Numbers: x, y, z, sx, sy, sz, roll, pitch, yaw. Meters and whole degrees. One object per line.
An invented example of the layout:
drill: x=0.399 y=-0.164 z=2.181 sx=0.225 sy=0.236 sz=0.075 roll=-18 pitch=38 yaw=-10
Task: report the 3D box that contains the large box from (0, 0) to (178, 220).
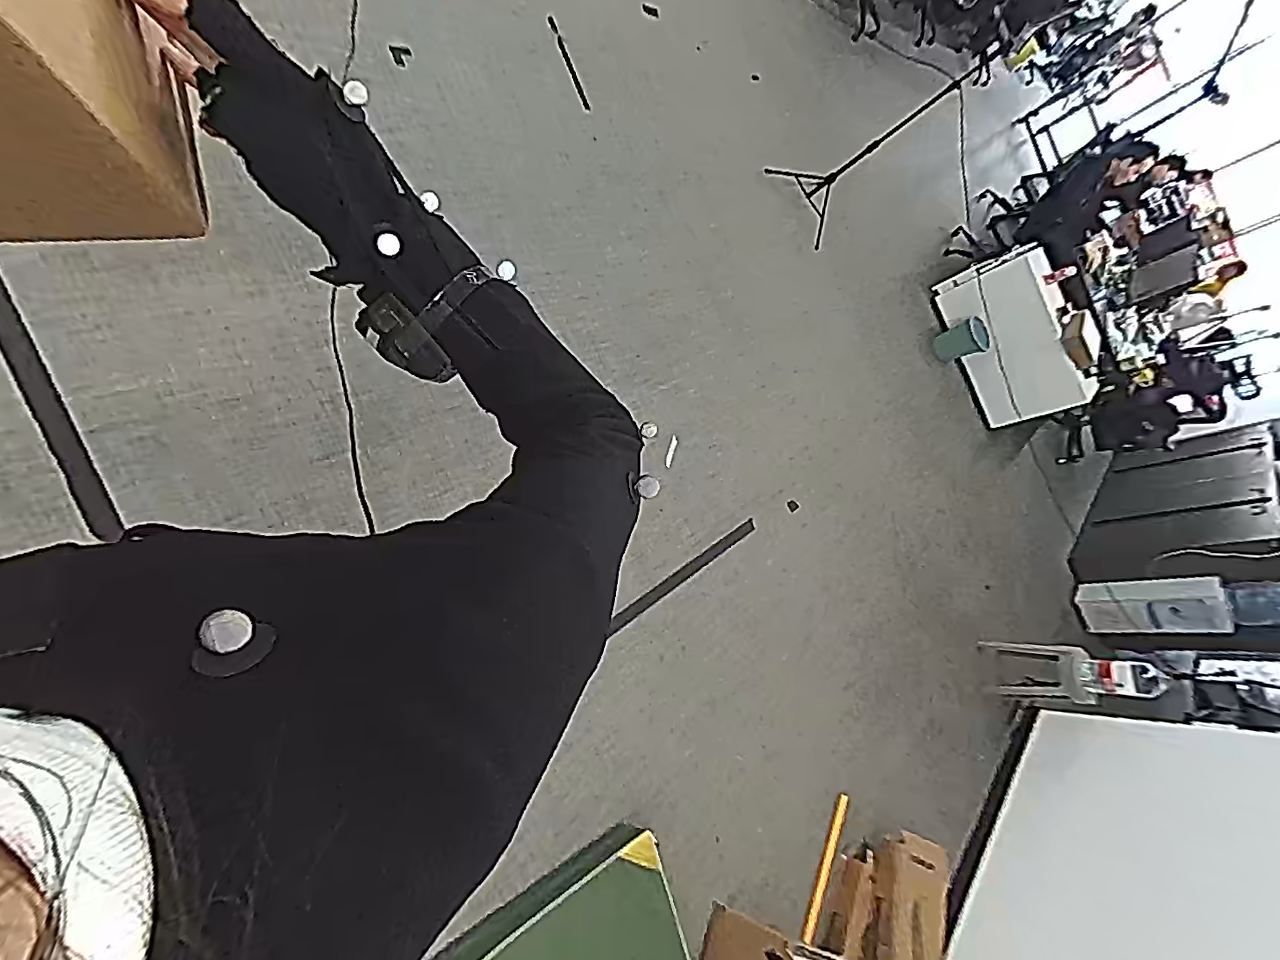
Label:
large box: x=-0.445 y=-0.277 z=0.128 sx=0.408 sy=0.320 sz=0.320 roll=-11 pitch=94 yaw=-21
